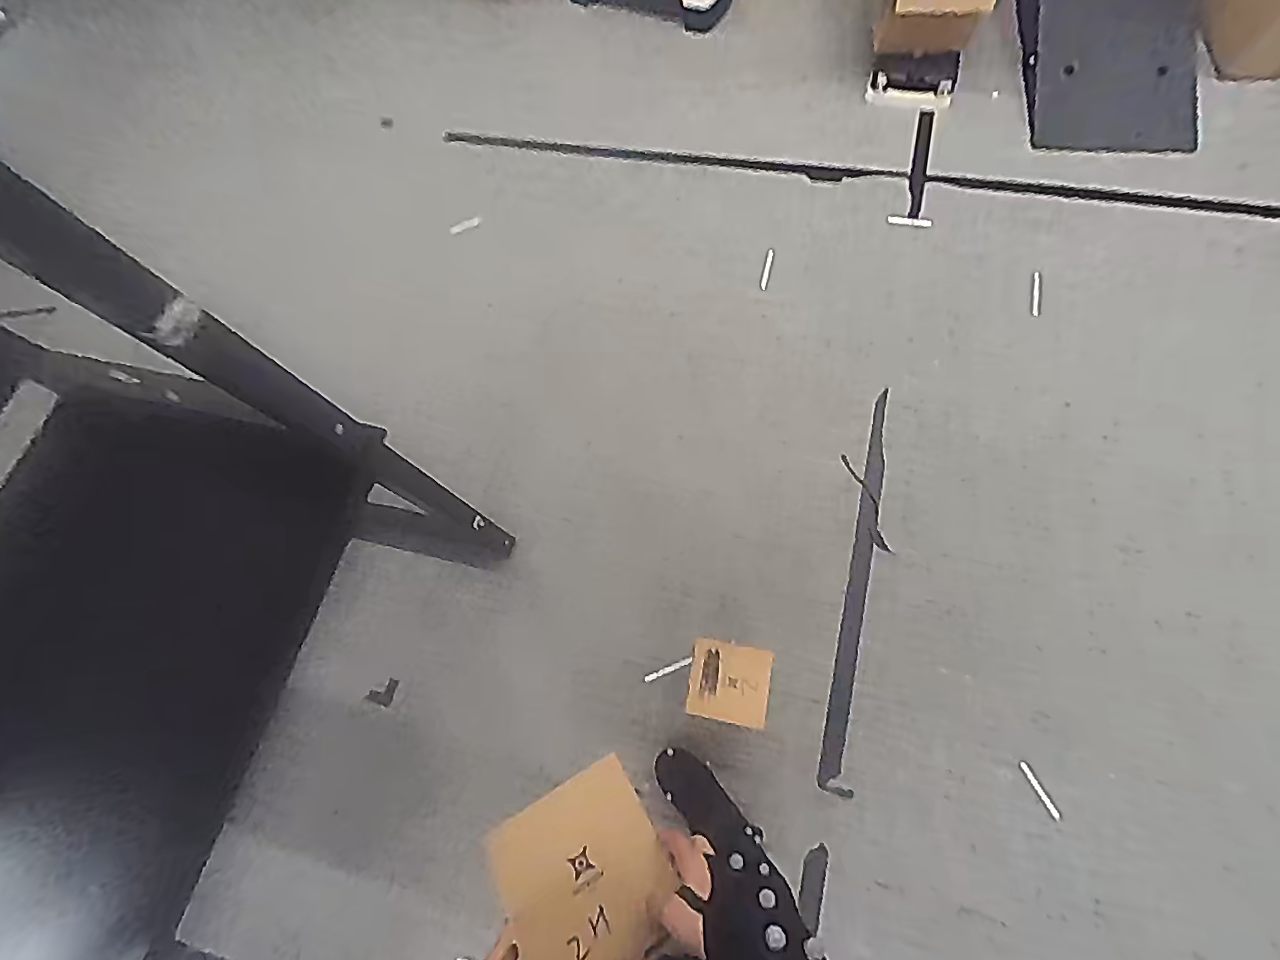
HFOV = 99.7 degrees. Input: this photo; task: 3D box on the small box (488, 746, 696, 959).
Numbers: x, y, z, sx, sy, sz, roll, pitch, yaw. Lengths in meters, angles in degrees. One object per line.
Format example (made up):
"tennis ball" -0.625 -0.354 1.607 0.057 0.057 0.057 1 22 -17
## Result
"small box" -0.049 0.449 0.618 0.168 0.176 0.179 -26 52 -14
